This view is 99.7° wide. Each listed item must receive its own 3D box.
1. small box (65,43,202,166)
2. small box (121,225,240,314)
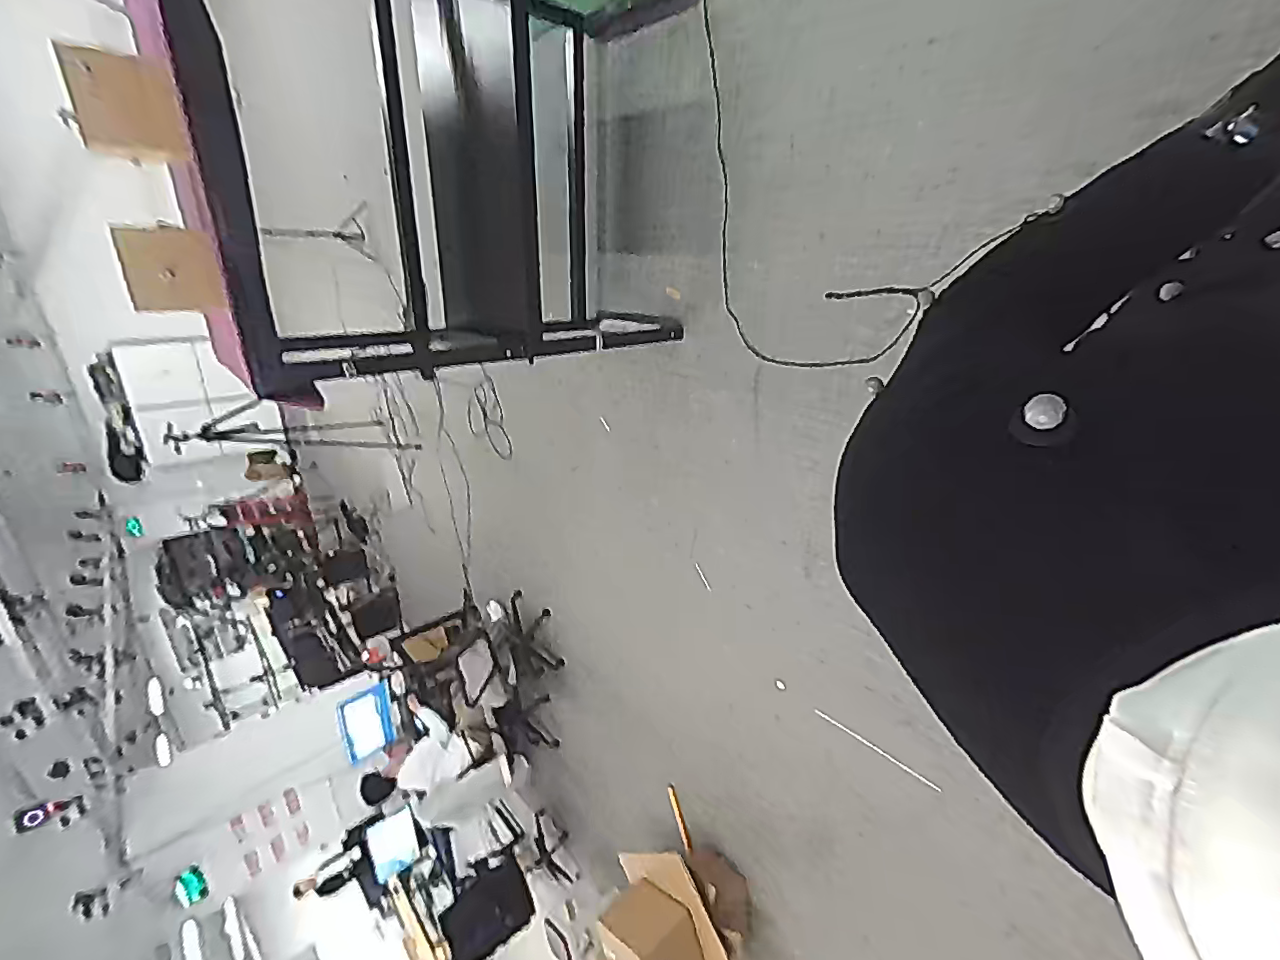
[{"bbox_3d":[-1.046,-0.768,1.129,0.168,0.176,0.179,24,121,44],"label":"small box"},{"bbox_3d":[-1.048,-0.477,1.237,0.168,0.176,0.179,21,120,45],"label":"small box"}]
